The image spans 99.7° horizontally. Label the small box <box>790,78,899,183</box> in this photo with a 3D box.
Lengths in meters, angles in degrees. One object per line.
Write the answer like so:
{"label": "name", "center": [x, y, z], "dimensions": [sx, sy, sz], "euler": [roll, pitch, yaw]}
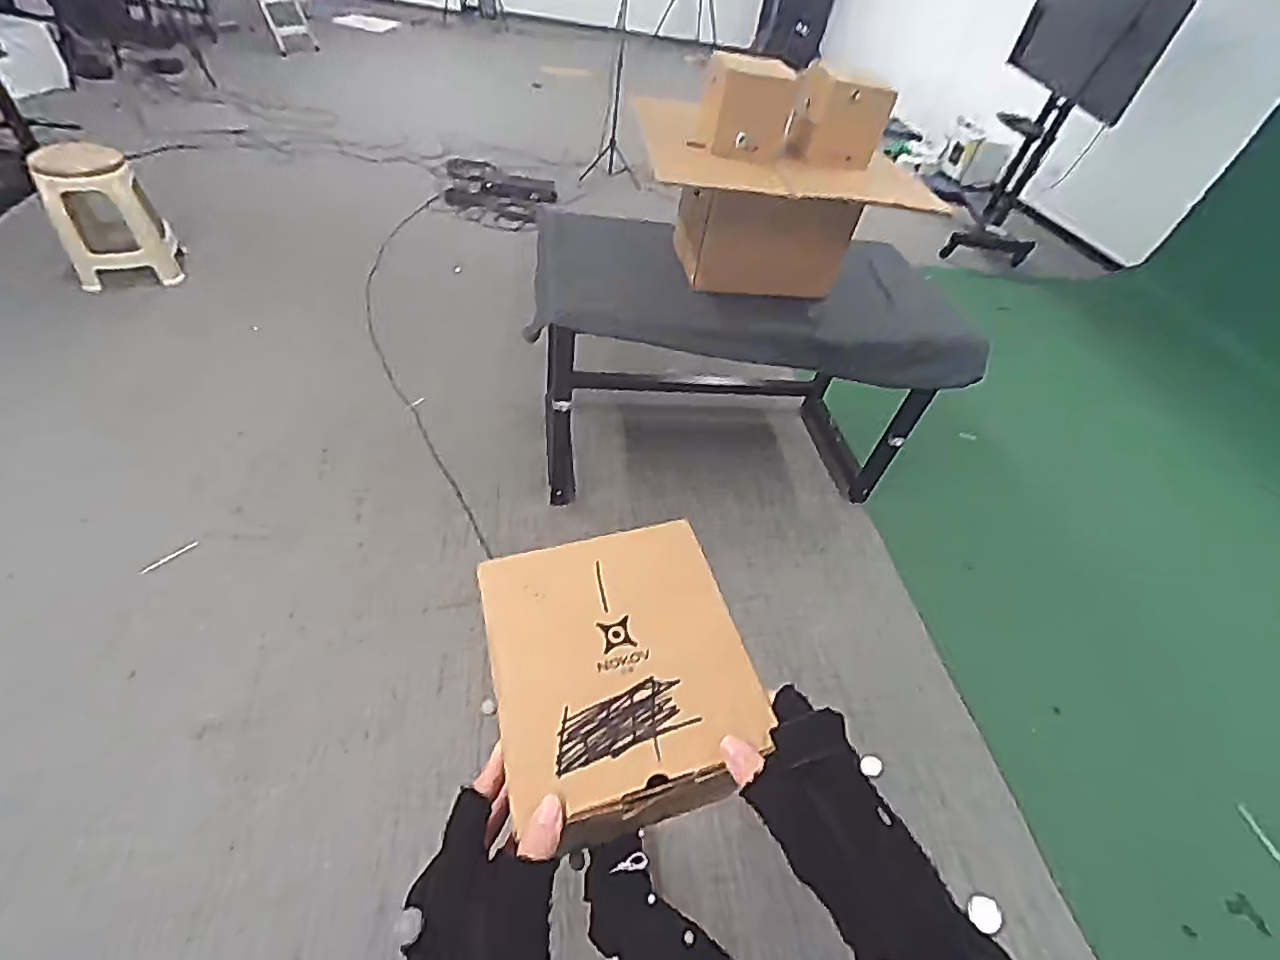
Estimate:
{"label": "small box", "center": [0.490, -0.859, 1.330], "dimensions": [0.168, 0.176, 0.179], "euler": [2, 46, -10]}

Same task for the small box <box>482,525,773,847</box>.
{"label": "small box", "center": [-0.021, 0.166, 0.428], "dimensions": [0.168, 0.176, 0.179], "euler": [-10, 51, -14]}

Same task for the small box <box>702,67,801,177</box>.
{"label": "small box", "center": [0.253, -0.845, 1.281], "dimensions": [0.168, 0.176, 0.179], "euler": [0, 49, -10]}
